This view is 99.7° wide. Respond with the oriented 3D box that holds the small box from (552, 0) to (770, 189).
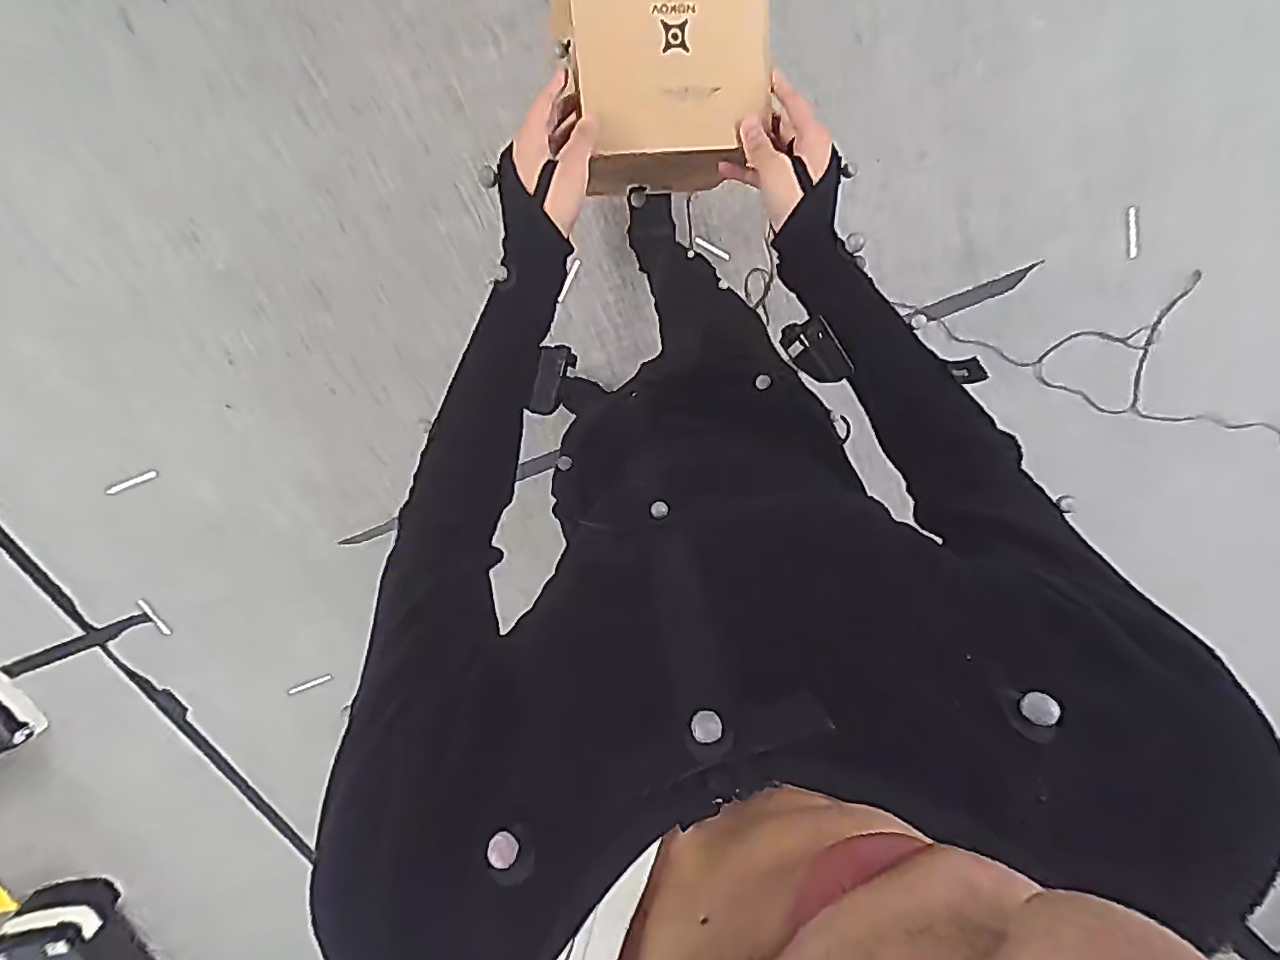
[{"bbox_3d":[0.011,-0.392,0.507,0.168,0.176,0.179,-8,107,-9],"label":"small box"}]
